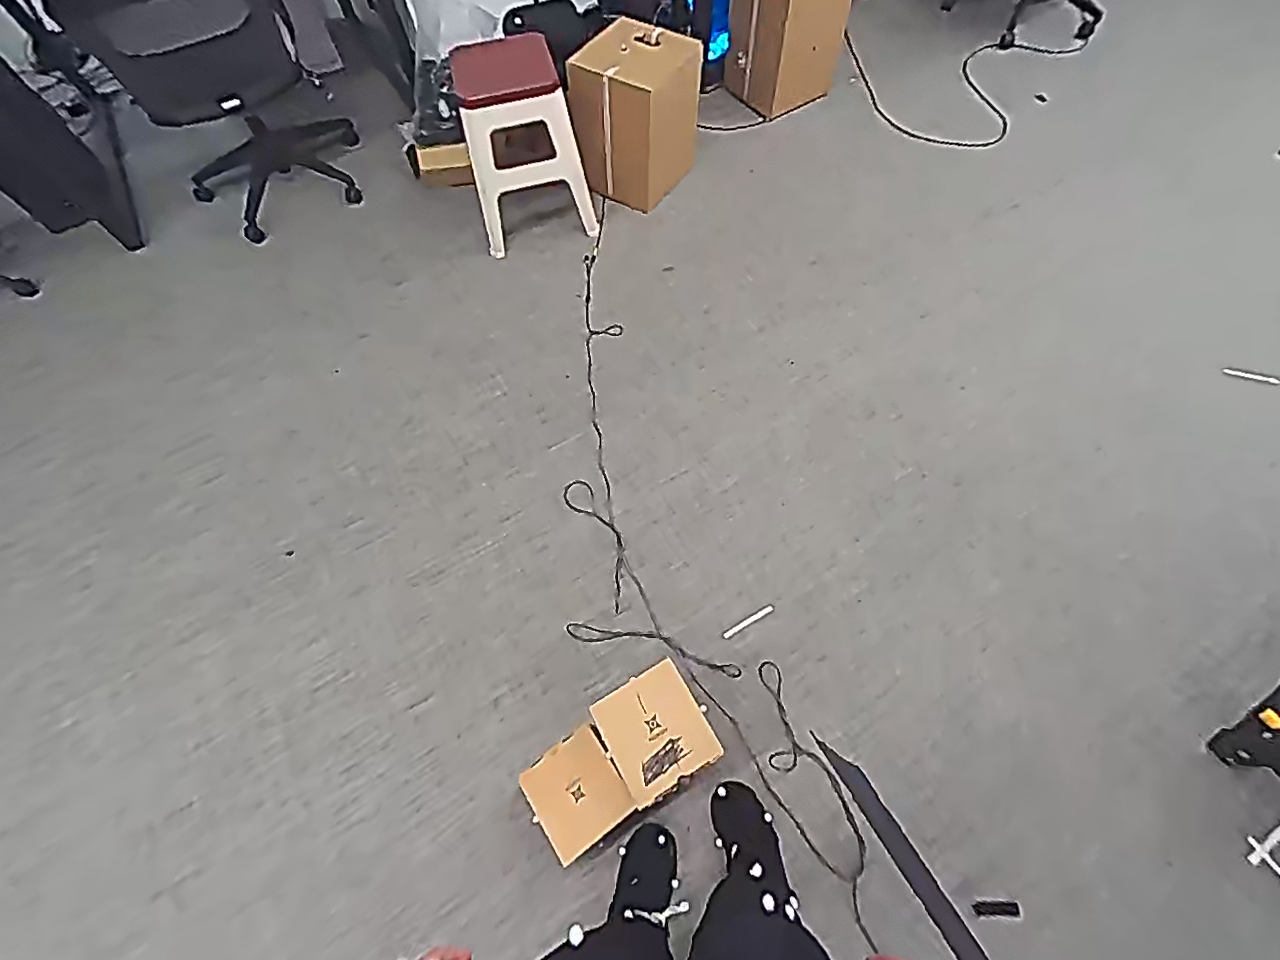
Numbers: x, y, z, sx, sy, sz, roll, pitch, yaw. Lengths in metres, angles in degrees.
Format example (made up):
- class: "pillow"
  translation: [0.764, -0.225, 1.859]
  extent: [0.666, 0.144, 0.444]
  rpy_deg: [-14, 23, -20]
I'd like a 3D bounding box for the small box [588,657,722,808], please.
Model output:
- class: "small box"
  translation: [0.027, 0.442, 0.959]
  extent: [0.168, 0.176, 0.179]
  rpy_deg: [-28, 65, -11]
